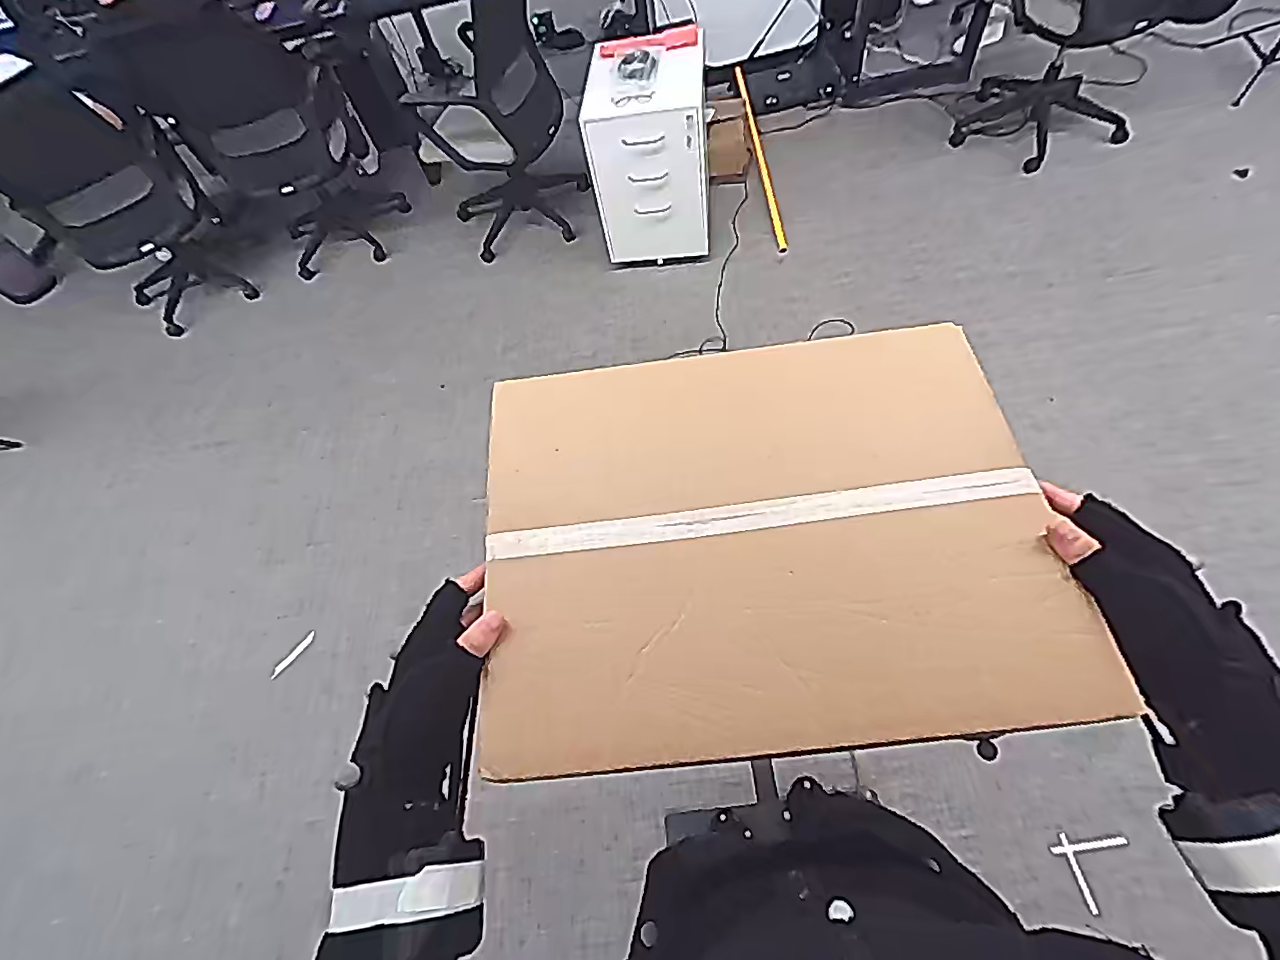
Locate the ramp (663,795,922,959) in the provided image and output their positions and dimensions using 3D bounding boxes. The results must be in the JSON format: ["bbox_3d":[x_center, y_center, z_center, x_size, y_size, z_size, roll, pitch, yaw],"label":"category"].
[{"bbox_3d":[0.327,1.137,0.935,0.509,0.206,0.991,-11,58,4],"label":"ramp"}]

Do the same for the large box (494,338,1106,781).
[{"bbox_3d":[0.100,0.100,0.545,0.408,0.320,0.320,-7,62,2],"label":"large box"}]
